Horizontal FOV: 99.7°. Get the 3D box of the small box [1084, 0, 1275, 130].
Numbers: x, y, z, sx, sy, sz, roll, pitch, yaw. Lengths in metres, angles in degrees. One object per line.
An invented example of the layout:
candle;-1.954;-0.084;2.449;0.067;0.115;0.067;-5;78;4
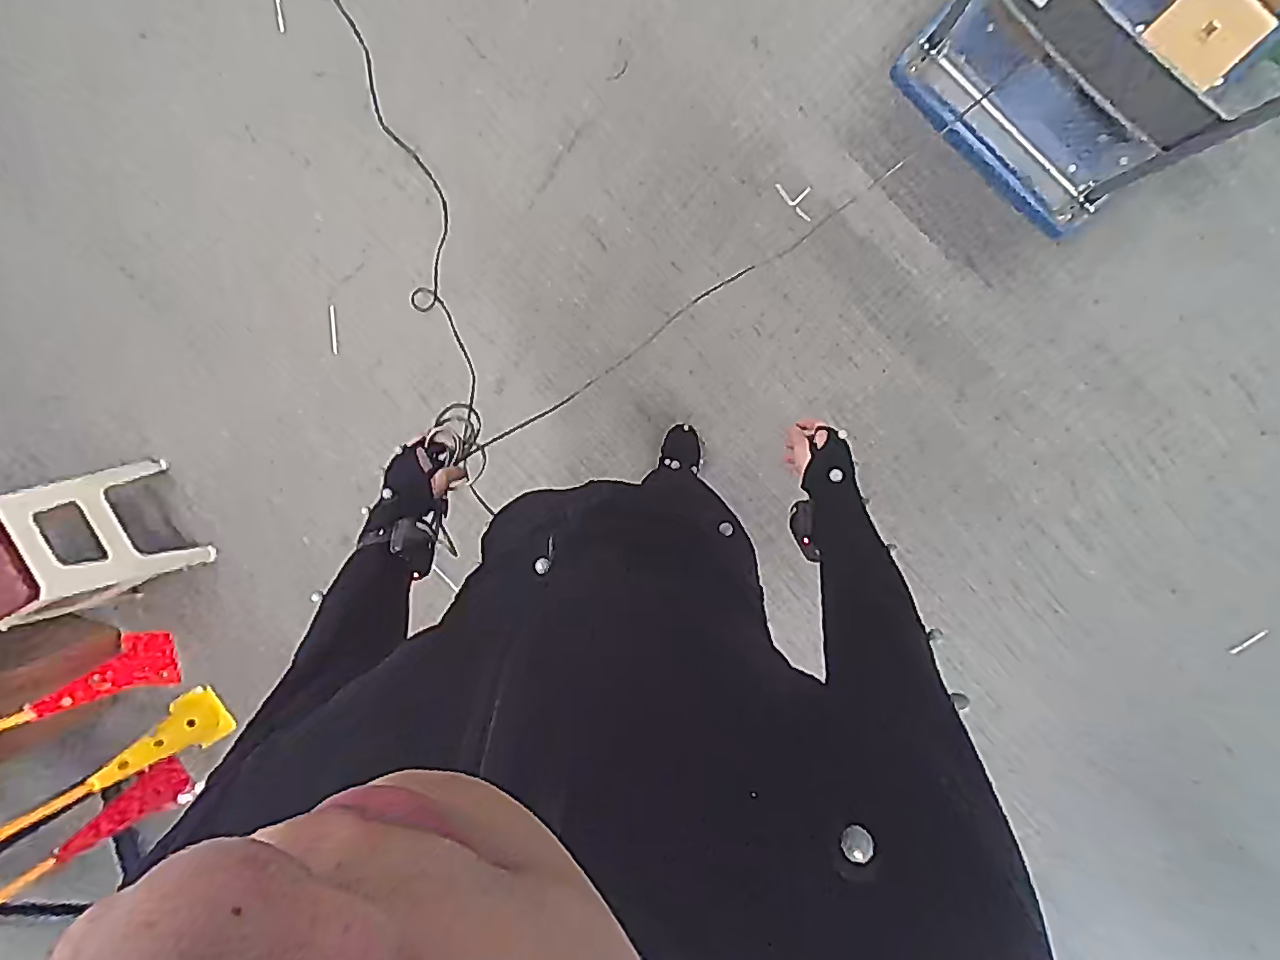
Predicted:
small box;1.073;-0.868;1.094;0.168;0.176;0.179;45;102;-2
